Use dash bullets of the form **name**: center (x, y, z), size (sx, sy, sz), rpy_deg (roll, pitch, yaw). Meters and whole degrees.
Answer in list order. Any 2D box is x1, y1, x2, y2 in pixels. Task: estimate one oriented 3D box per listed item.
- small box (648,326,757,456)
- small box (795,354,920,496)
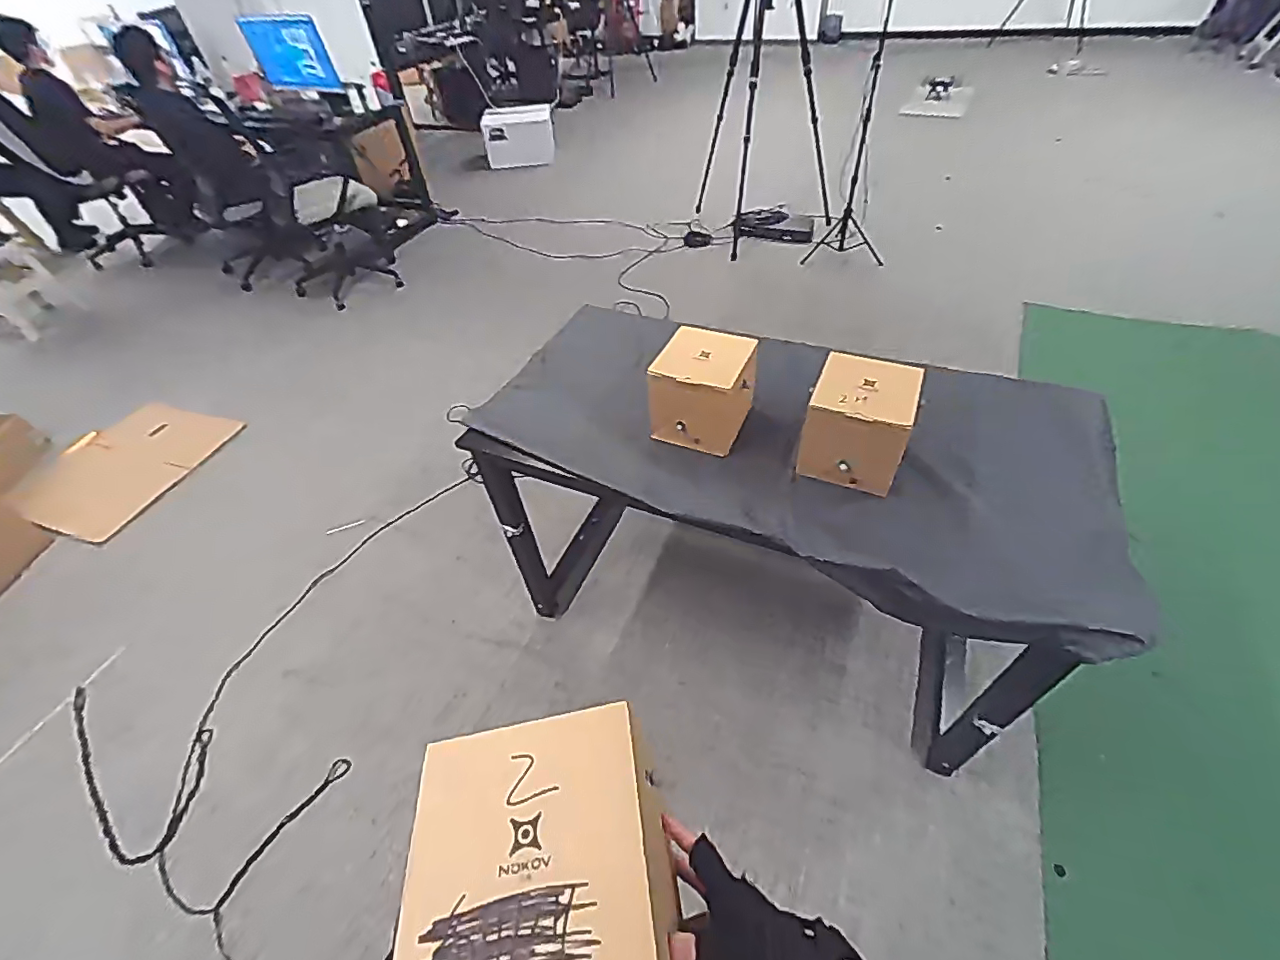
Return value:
- **small box**: center (0.124, -0.180, 1.092), size (0.168, 0.176, 0.179), rpy_deg (17, 50, 18)
- **small box**: center (0.395, -0.102, 0.997), size (0.168, 0.176, 0.179), rpy_deg (17, 50, 19)
